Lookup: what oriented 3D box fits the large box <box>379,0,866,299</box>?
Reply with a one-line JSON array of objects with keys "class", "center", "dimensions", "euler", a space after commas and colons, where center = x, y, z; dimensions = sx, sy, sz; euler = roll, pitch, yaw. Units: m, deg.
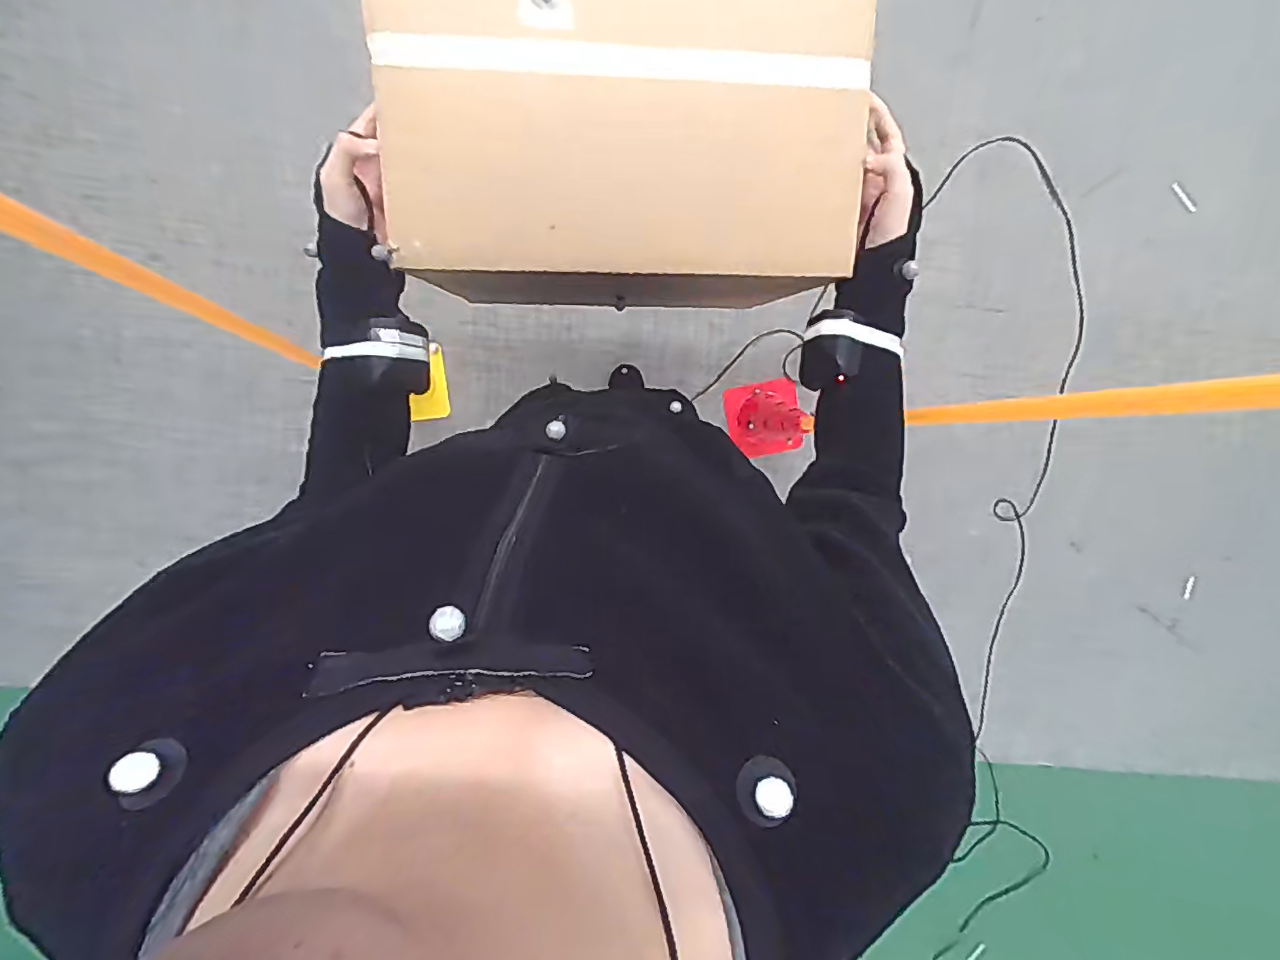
[{"class": "large box", "center": [-0.020, -0.371, 0.594], "dimensions": [0.408, 0.320, 0.320], "euler": [-1, 103, -5]}]
